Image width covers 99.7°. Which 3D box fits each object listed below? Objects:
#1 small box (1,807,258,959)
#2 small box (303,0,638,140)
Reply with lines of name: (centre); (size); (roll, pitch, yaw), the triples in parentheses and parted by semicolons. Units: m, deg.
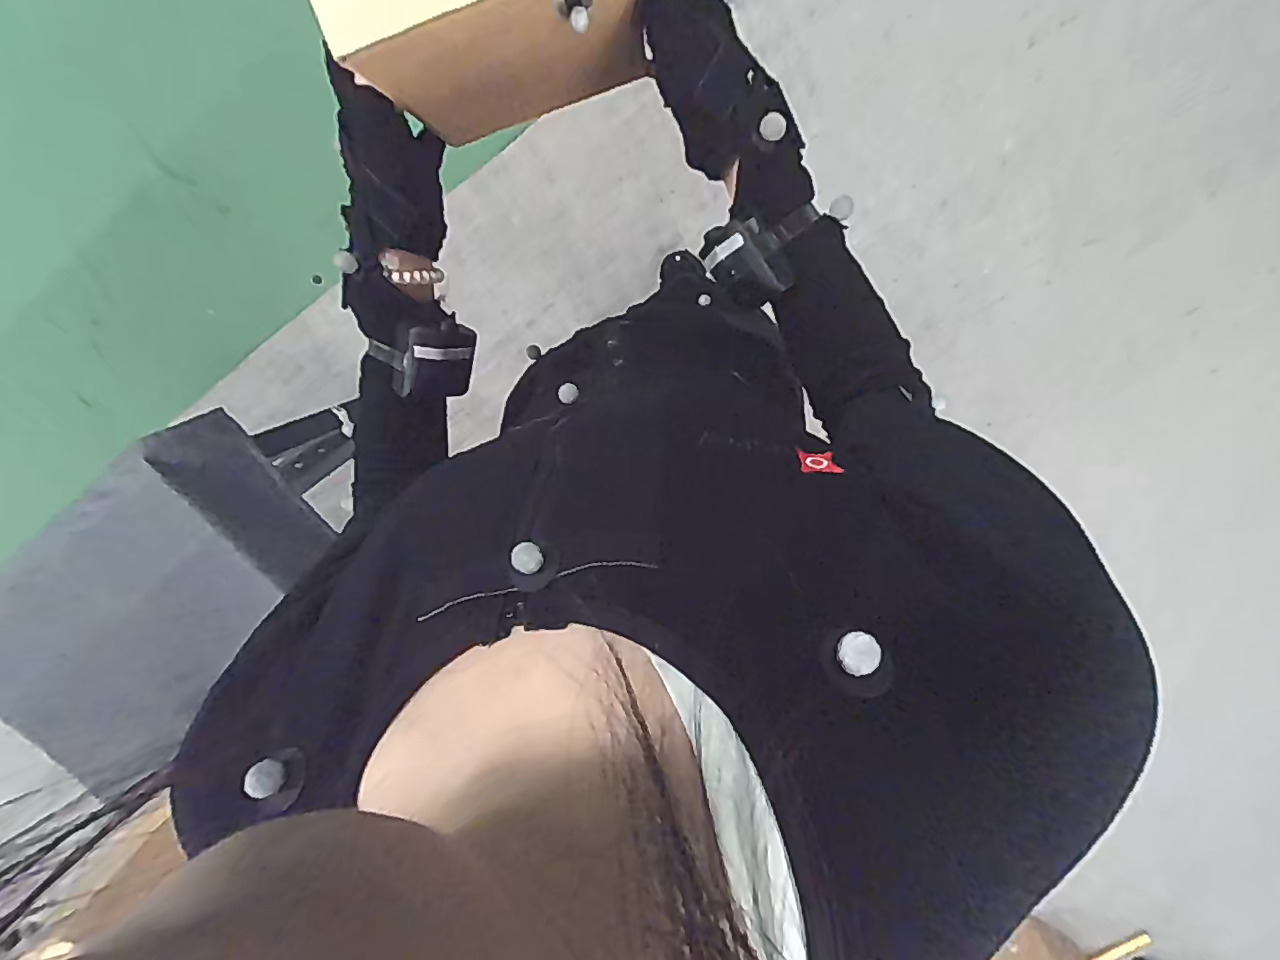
small box: (-0.677, 0.594, 0.732); (0.179, 0.176, 0.168); (-35, 105, 13)
small box: (-0.108, -0.349, 0.339); (0.179, 0.176, 0.168); (-17, 105, 7)
